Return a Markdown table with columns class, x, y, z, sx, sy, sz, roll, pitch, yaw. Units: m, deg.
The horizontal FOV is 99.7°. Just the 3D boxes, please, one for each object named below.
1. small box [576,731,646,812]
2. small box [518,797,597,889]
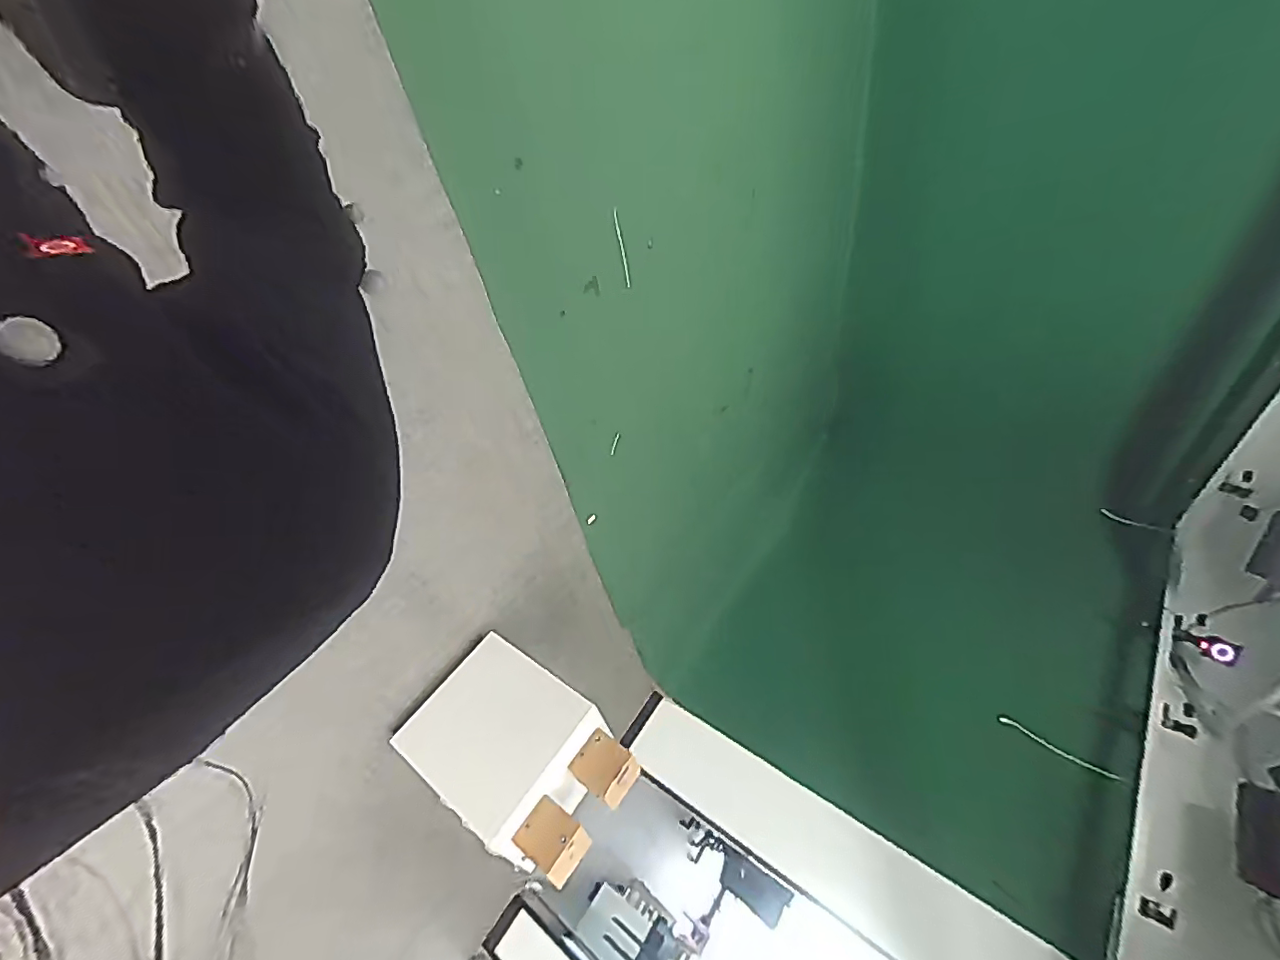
| class | x | y | z | sx | sy | sz | roll | pitch | yaw |
| --- | --- | --- | --- | --- | --- | --- | --- | --- | --- |
| small box | -0.104 | 1.020 | 1.906 | 0.168 | 0.176 | 0.179 | -46 | 142 | -29 |
| small box | -0.267 | 1.175 | 1.757 | 0.168 | 0.176 | 0.179 | -46 | 142 | -33 |
